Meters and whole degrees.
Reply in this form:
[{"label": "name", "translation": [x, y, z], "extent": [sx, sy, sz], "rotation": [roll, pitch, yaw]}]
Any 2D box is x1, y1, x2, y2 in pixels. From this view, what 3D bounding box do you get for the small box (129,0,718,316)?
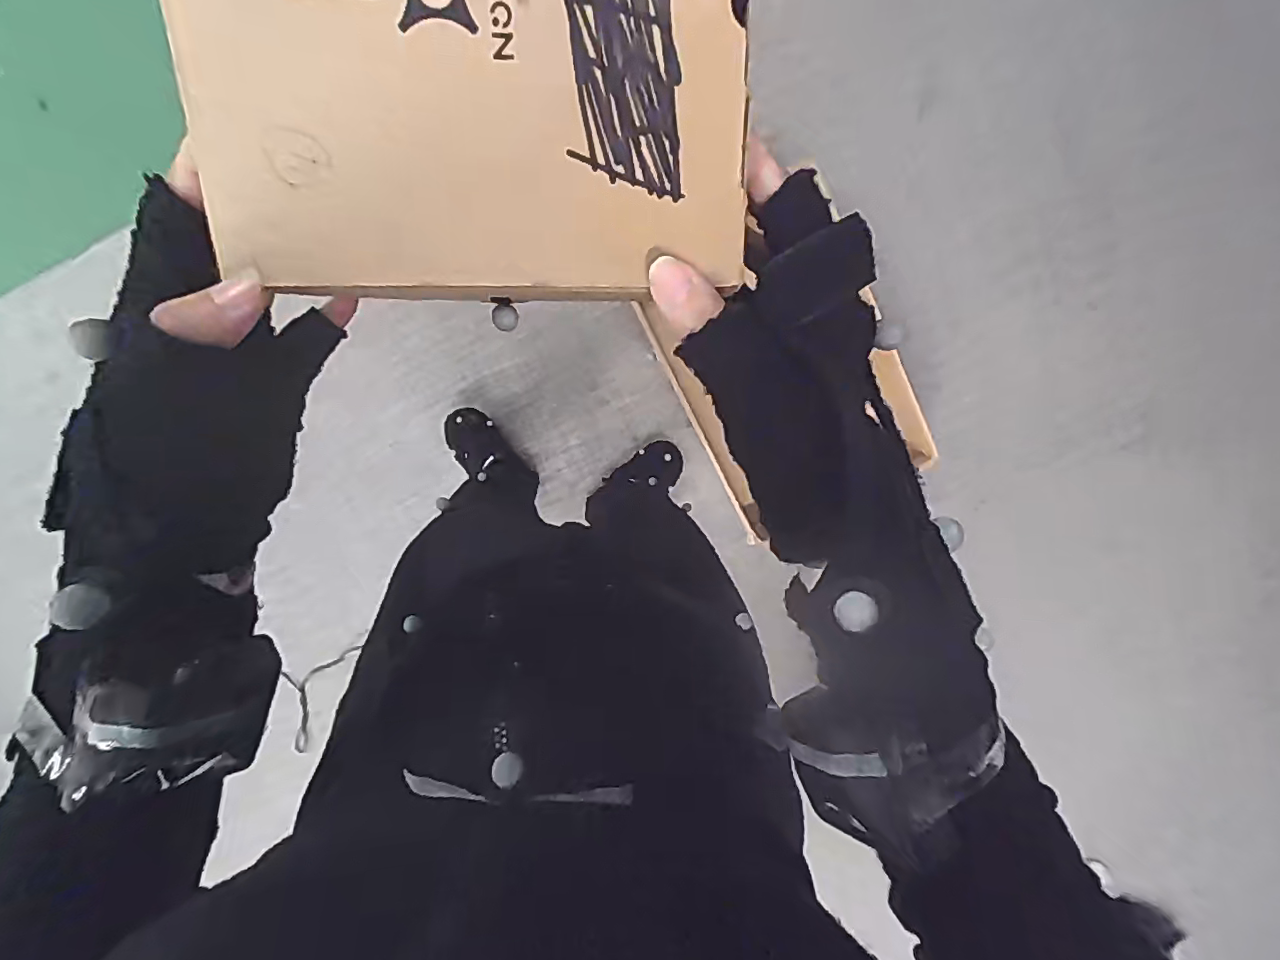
[{"label": "small box", "translation": [-0.065, -0.161, 0.238], "extent": [0.179, 0.176, 0.168], "rotation": [0, 107, -1]}]
